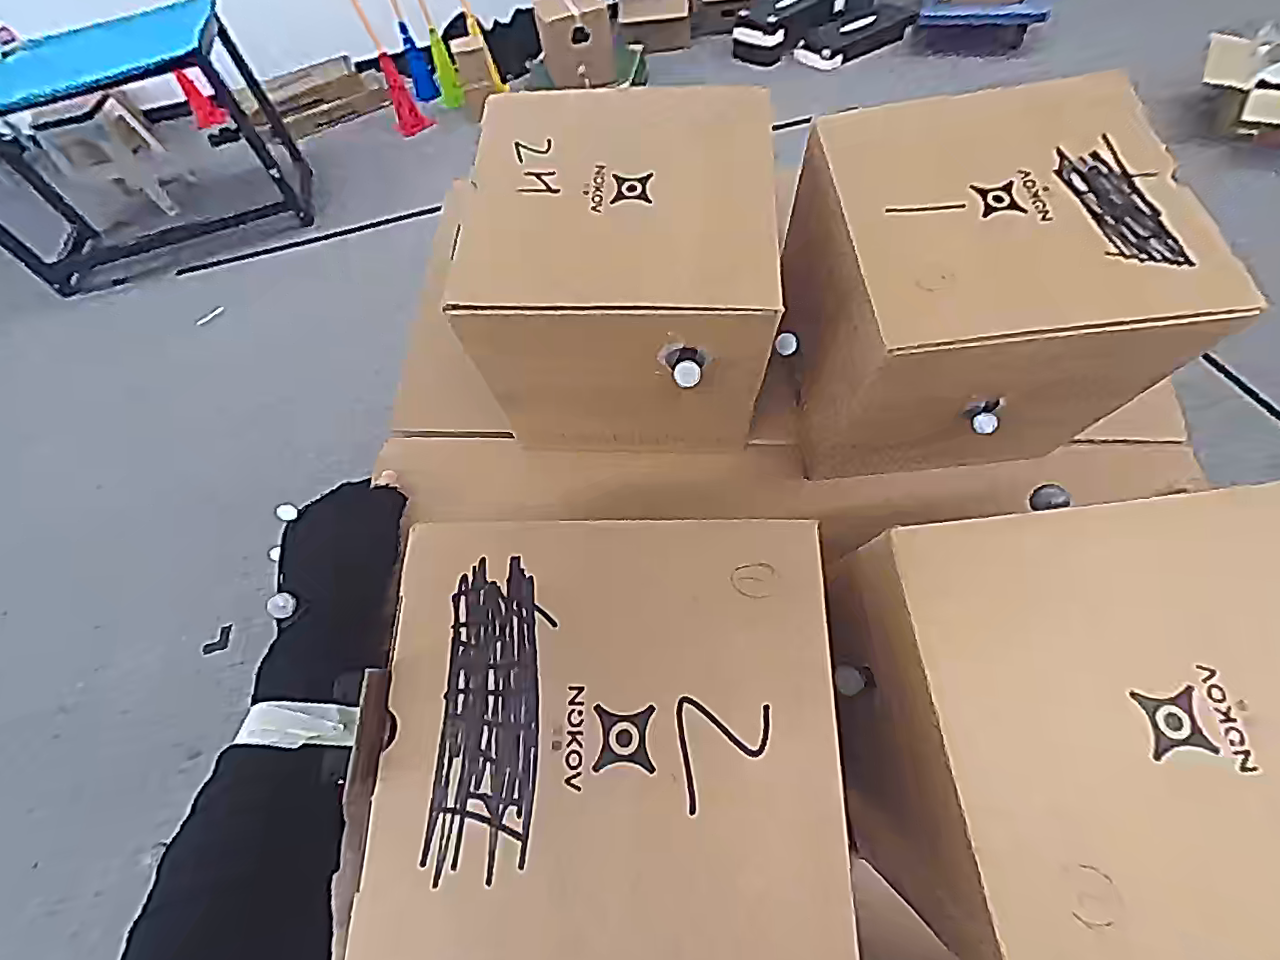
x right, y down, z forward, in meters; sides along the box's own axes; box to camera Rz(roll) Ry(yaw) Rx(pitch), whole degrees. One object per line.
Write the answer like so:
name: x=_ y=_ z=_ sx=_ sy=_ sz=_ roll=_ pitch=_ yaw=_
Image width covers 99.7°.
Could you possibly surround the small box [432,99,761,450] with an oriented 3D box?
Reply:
small box: x=-0.016 y=-0.130 z=0.384 sx=0.179 sy=0.176 sz=0.168 roll=2 pitch=67 yaw=5
